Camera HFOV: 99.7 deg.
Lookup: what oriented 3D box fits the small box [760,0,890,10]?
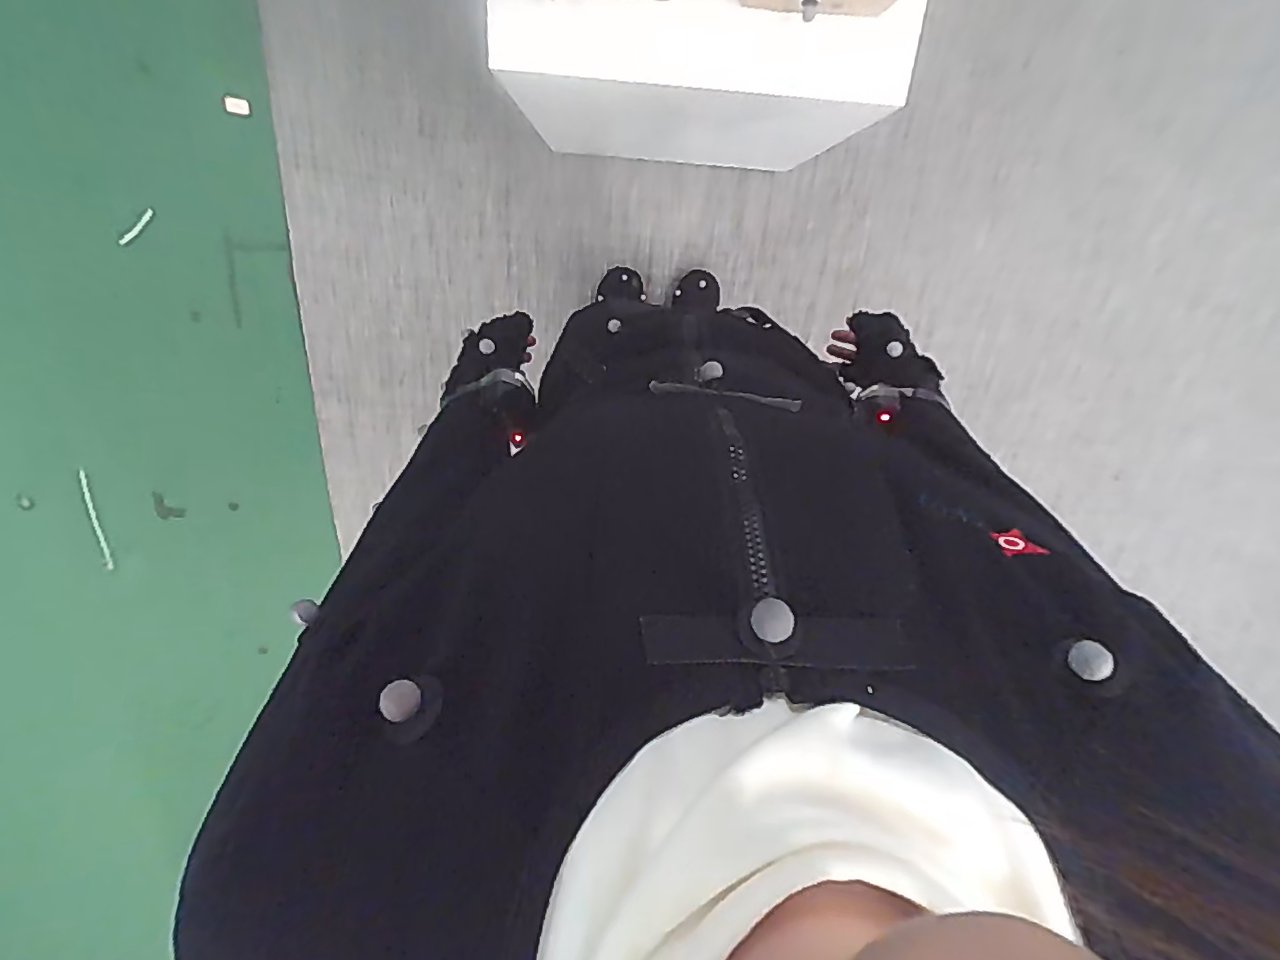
[{"bbox_3d":[0.204,-0.584,0.505,0.168,0.176,0.179,2,114,1],"label":"small box"}]
